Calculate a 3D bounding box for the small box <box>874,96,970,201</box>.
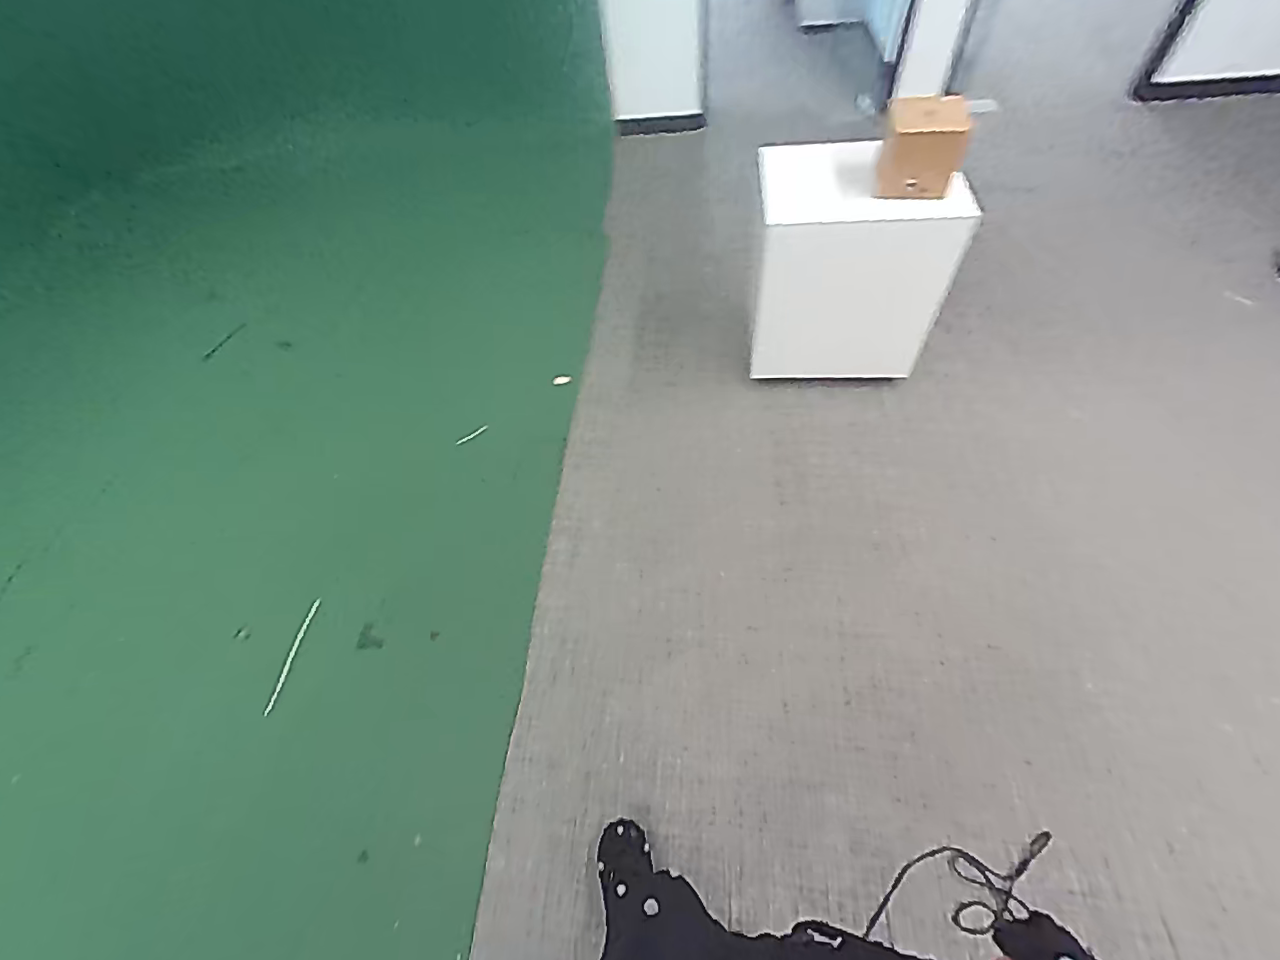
[{"bbox_3d":[0.697,-0.830,1.359,0.168,0.176,0.179,5,58,11],"label":"small box"}]
